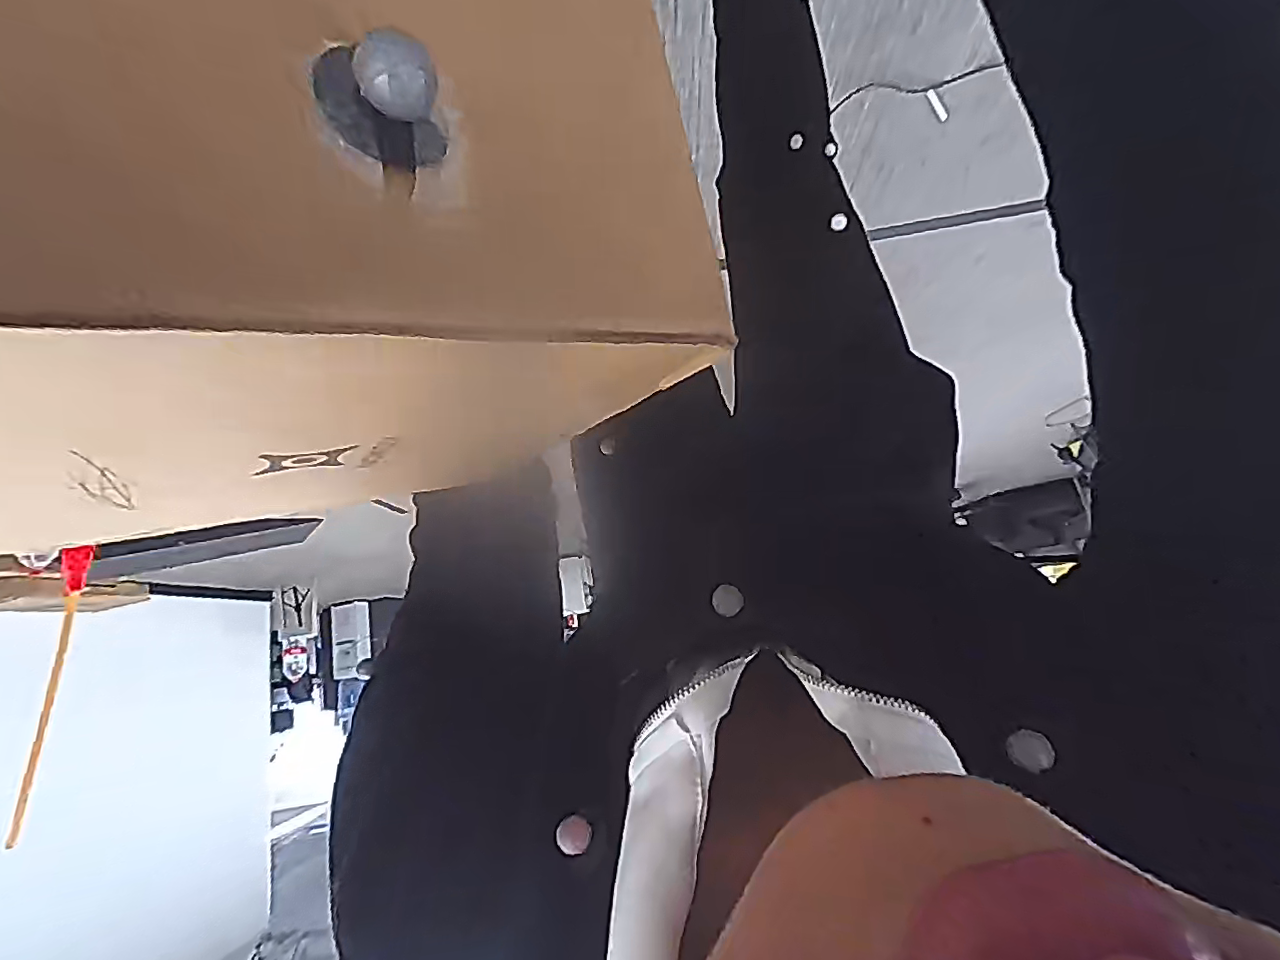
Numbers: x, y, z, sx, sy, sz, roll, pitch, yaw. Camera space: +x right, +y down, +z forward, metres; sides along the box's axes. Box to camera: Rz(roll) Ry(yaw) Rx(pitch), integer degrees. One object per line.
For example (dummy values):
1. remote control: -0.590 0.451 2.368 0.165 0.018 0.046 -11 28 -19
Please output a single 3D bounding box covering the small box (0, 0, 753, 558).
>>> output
1. small box: -0.101 -0.084 0.147 0.179 0.176 0.168 -9 173 -40
